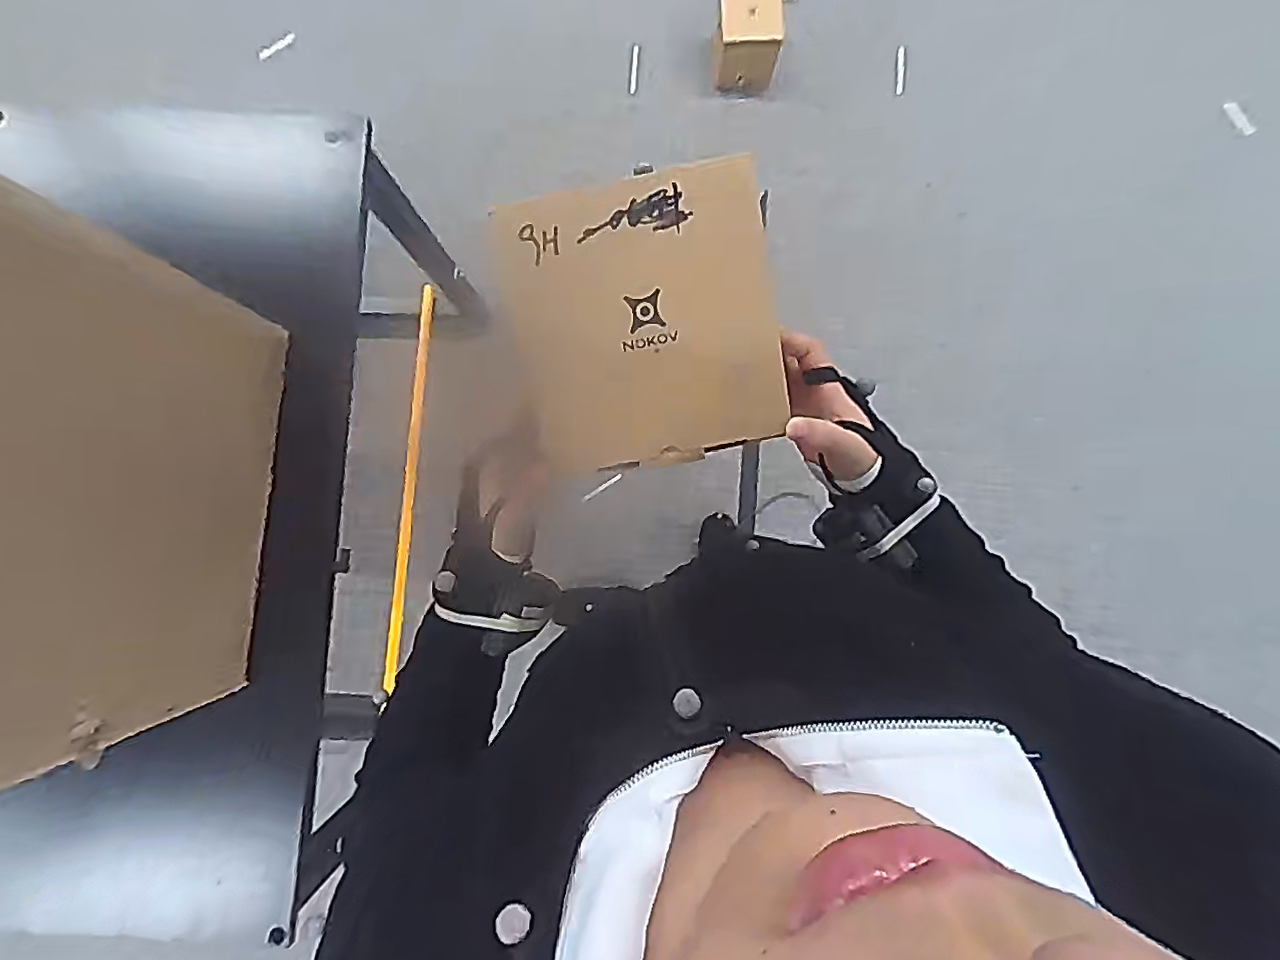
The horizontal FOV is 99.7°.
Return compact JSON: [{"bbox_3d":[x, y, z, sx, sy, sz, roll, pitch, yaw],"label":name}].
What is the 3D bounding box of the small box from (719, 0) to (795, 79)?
[{"bbox_3d":[0.310,-1.236,1.465,0.168,0.176,0.179,-4,87,0],"label":"small box"}]
